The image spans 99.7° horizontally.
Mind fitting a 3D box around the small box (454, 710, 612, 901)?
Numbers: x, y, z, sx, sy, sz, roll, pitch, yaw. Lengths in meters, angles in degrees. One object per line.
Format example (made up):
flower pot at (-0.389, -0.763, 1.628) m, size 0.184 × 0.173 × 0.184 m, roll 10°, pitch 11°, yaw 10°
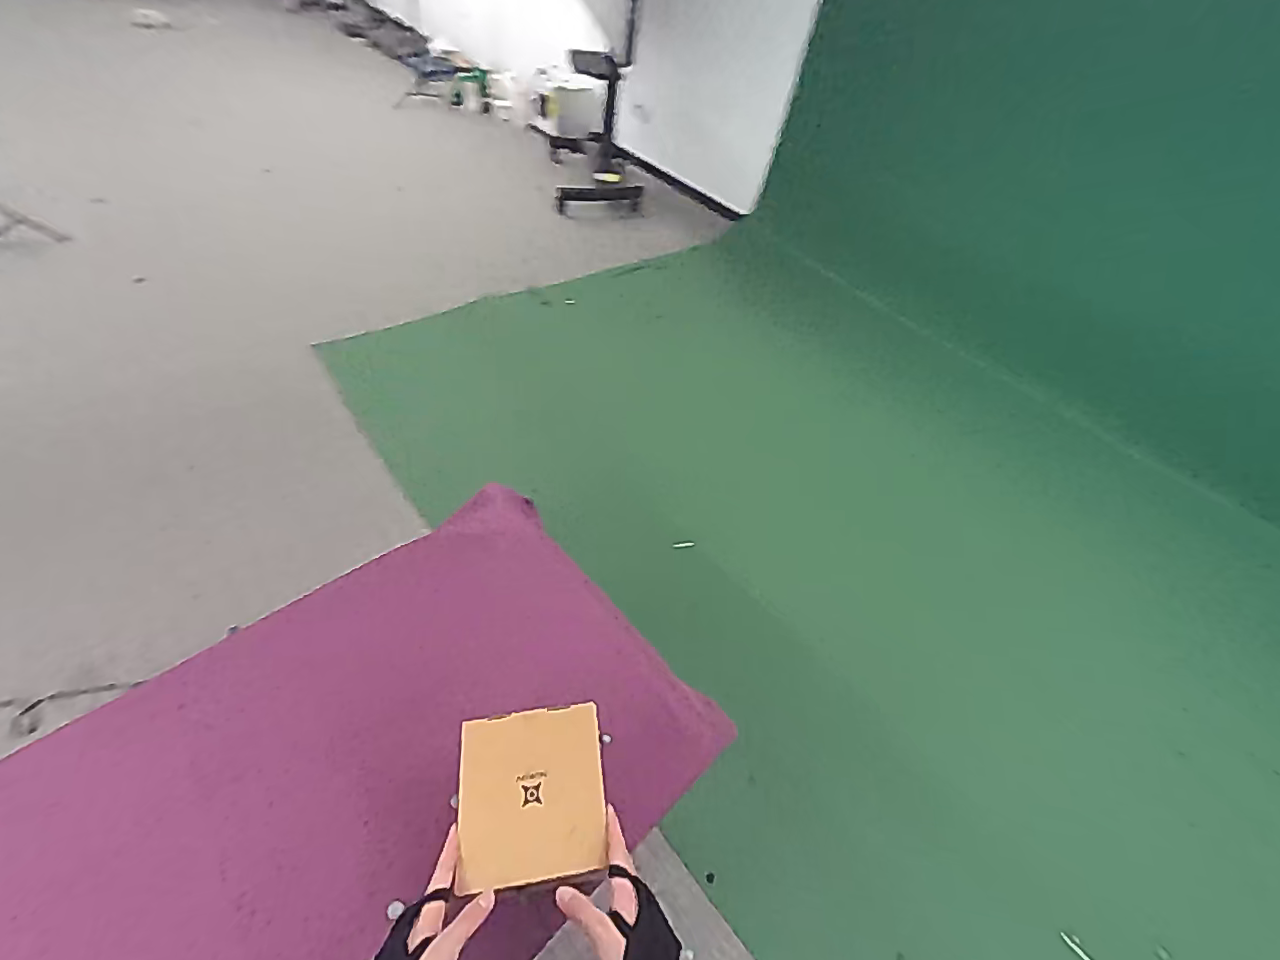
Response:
small box at (-0.124, 0.412, 0.680) m, size 0.168 × 0.176 × 0.179 m, roll -4°, pitch 50°, yaw -6°
